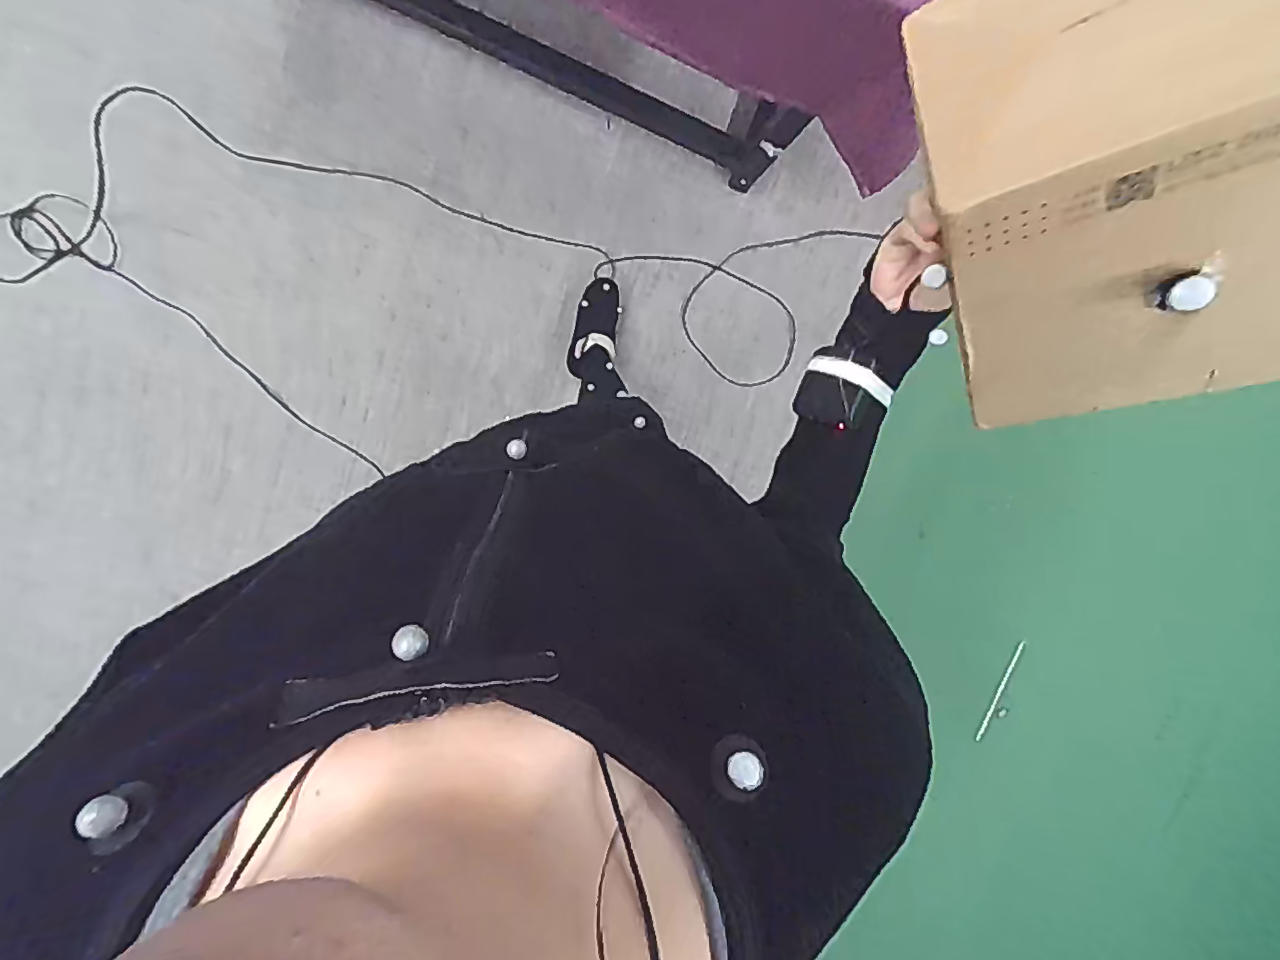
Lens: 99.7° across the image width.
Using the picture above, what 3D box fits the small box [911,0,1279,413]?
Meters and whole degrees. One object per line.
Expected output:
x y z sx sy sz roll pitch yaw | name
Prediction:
0.246 -0.166 0.272 0.168 0.179 0.176 -11 145 31 | small box
